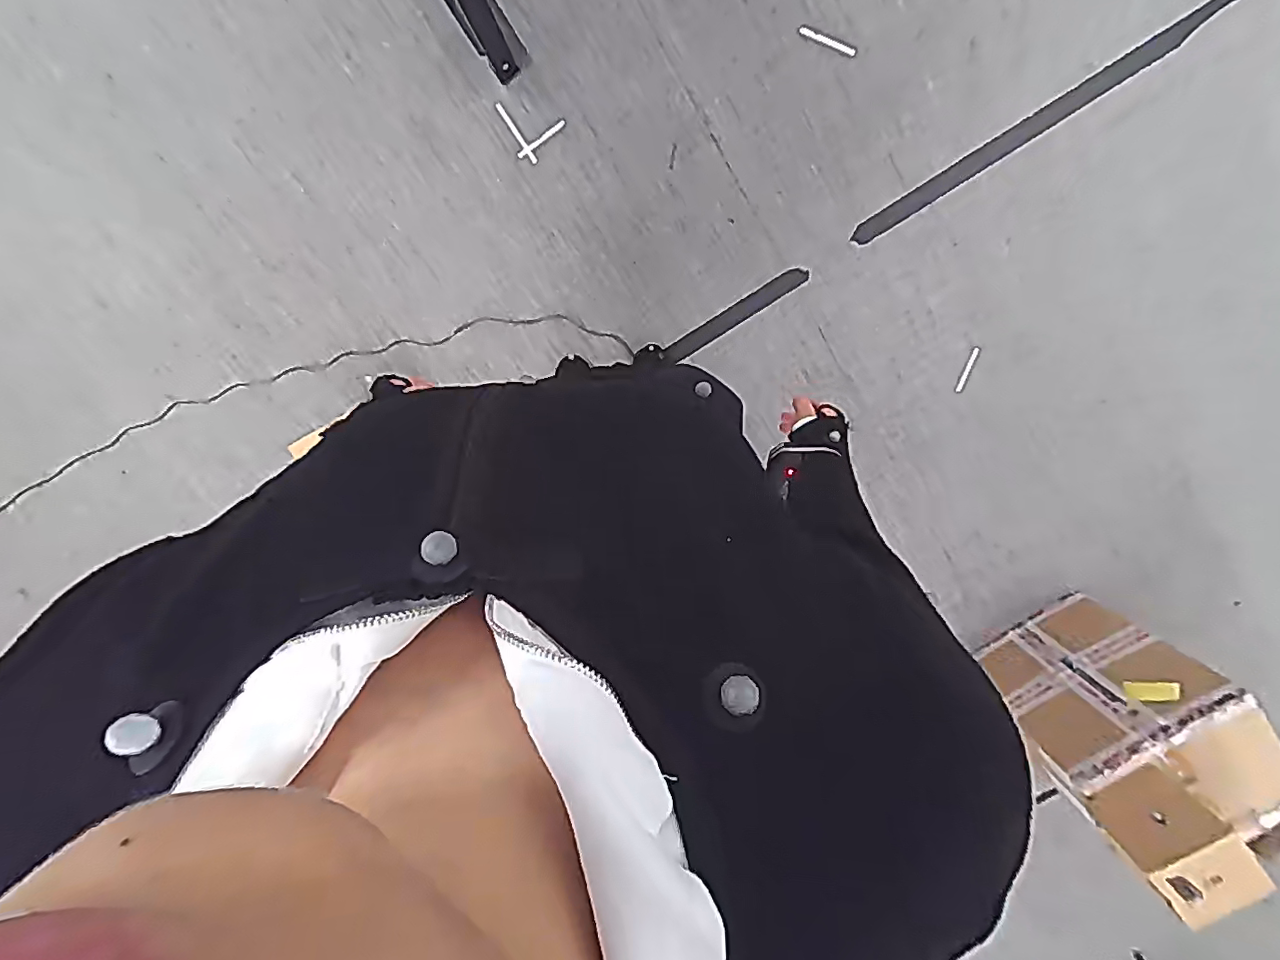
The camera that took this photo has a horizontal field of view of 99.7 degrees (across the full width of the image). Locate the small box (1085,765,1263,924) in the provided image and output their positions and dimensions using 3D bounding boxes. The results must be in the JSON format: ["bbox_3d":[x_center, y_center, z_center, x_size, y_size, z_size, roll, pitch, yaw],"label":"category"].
[{"bbox_3d":[1.072,0.737,1.108,0.179,0.176,0.168,-39,98,10],"label":"small box"}]

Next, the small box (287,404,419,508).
[{"bbox_3d":[-0.649,-0.061,1.246,0.179,0.176,0.168,-27,103,5],"label":"small box"}]
